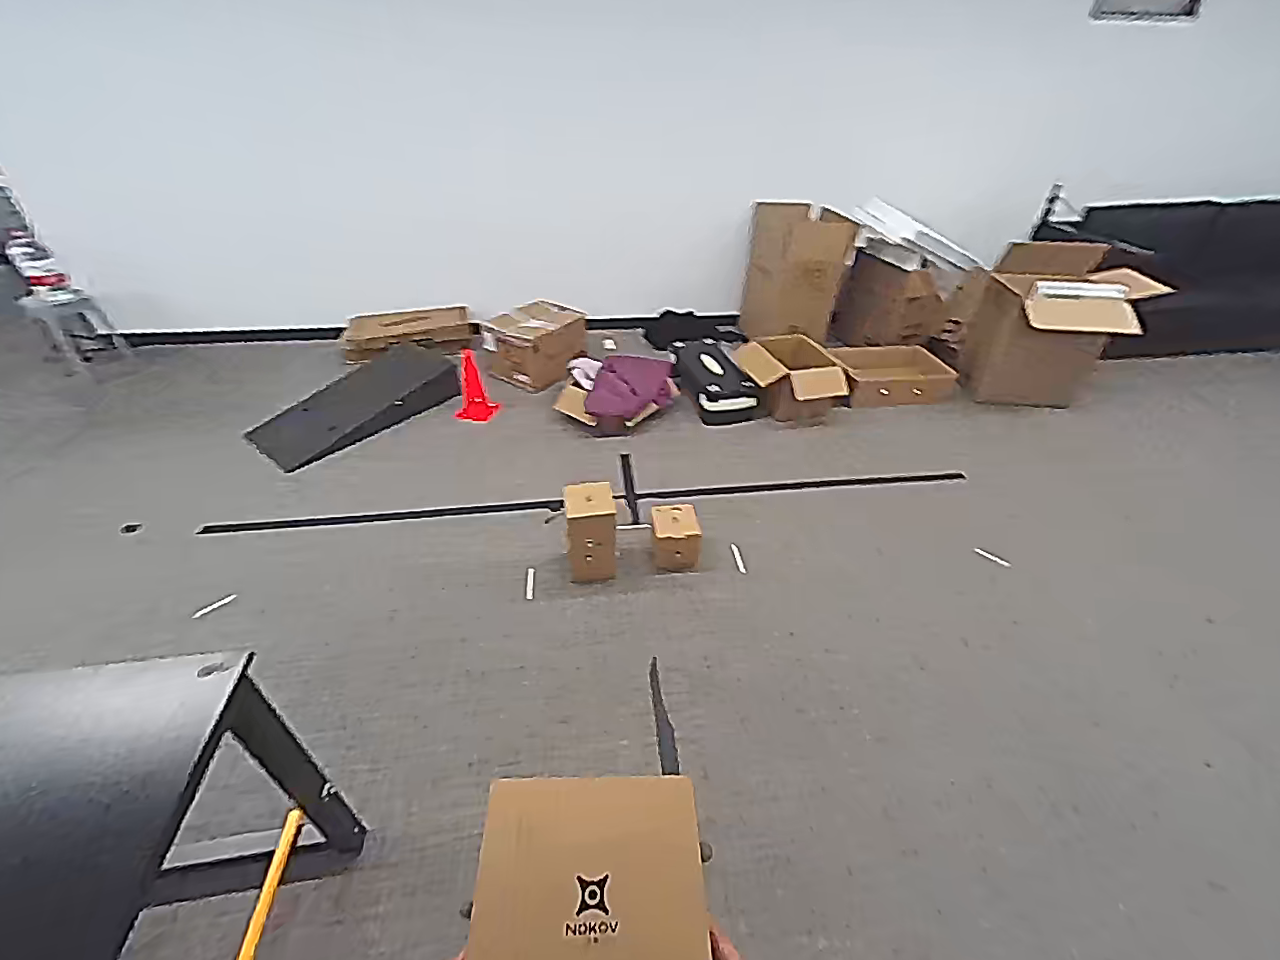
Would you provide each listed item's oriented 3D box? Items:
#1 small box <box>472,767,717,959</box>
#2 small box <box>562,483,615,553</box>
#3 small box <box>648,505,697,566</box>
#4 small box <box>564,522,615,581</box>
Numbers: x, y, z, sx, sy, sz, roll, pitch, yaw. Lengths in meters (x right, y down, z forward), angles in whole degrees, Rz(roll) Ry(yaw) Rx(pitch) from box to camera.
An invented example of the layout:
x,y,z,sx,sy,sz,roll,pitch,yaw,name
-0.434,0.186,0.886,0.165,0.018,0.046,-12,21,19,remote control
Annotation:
x,y,z,sx,sy,sz,roll,pitch,yaw,name
-0.036,0.356,0.435,0.168,0.176,0.179,1,42,-4,small box
-0.183,0.135,1.924,0.168,0.176,0.179,-8,40,-8,small box
0.123,0.219,2.090,0.168,0.176,0.179,-4,39,-6,small box
-0.188,0.263,2.025,0.179,0.176,0.168,-5,38,-8,small box
